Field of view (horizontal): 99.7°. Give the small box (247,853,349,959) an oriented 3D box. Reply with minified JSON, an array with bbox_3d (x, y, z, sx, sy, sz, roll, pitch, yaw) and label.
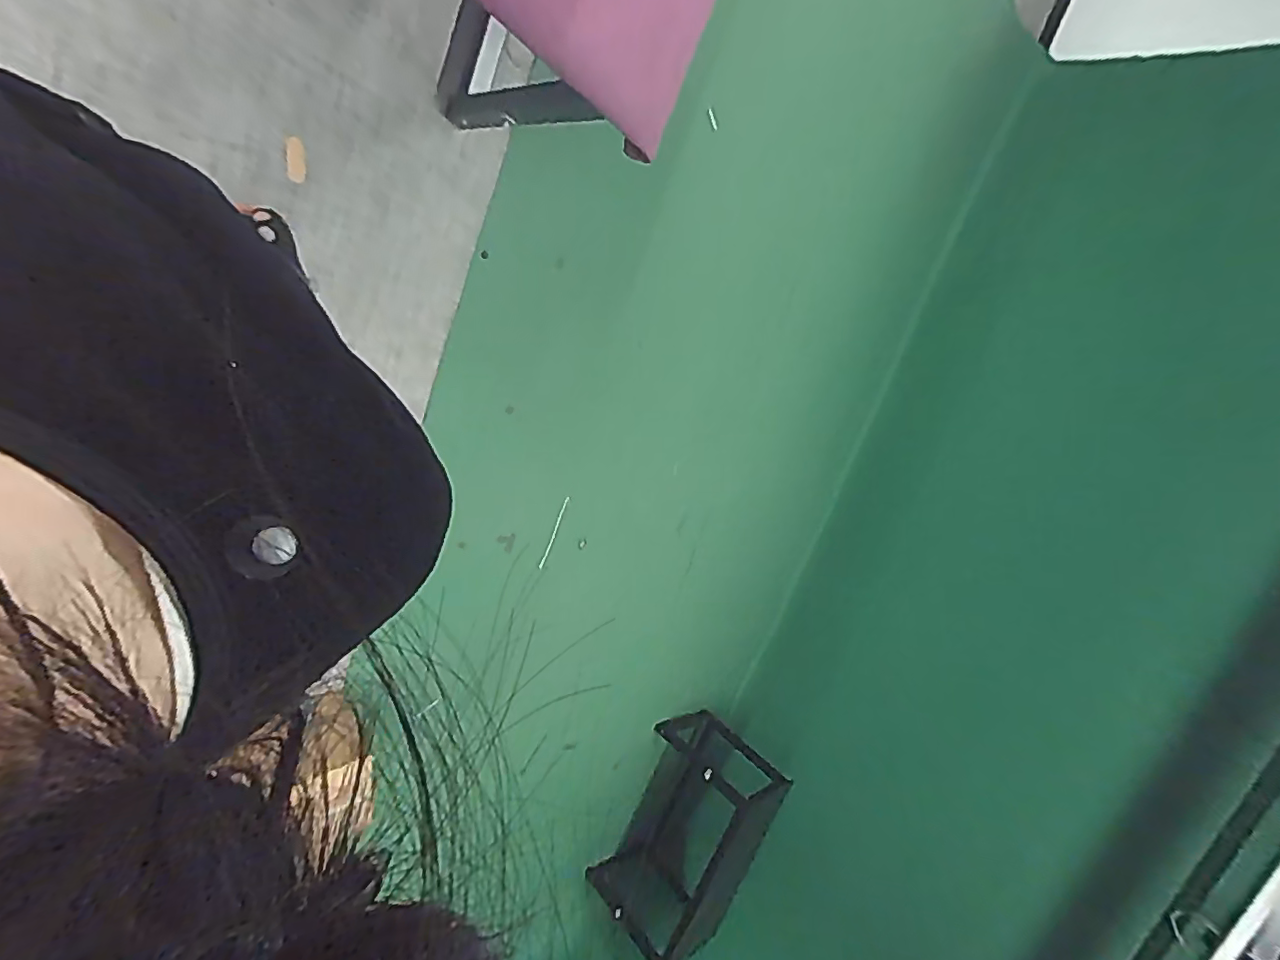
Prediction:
[{"bbox_3d":[-0.805,1.041,1.271,0.179,0.176,0.168,-10,119,-43],"label":"small box"}]

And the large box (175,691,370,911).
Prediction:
[{"bbox_3d":[-1.049,0.892,1.565,0.408,0.320,0.320,-10,120,-45],"label":"large box"}]

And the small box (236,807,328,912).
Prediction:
[{"bbox_3d":[-0.912,0.977,1.377,0.168,0.176,0.179,-8,118,-44],"label":"small box"}]
